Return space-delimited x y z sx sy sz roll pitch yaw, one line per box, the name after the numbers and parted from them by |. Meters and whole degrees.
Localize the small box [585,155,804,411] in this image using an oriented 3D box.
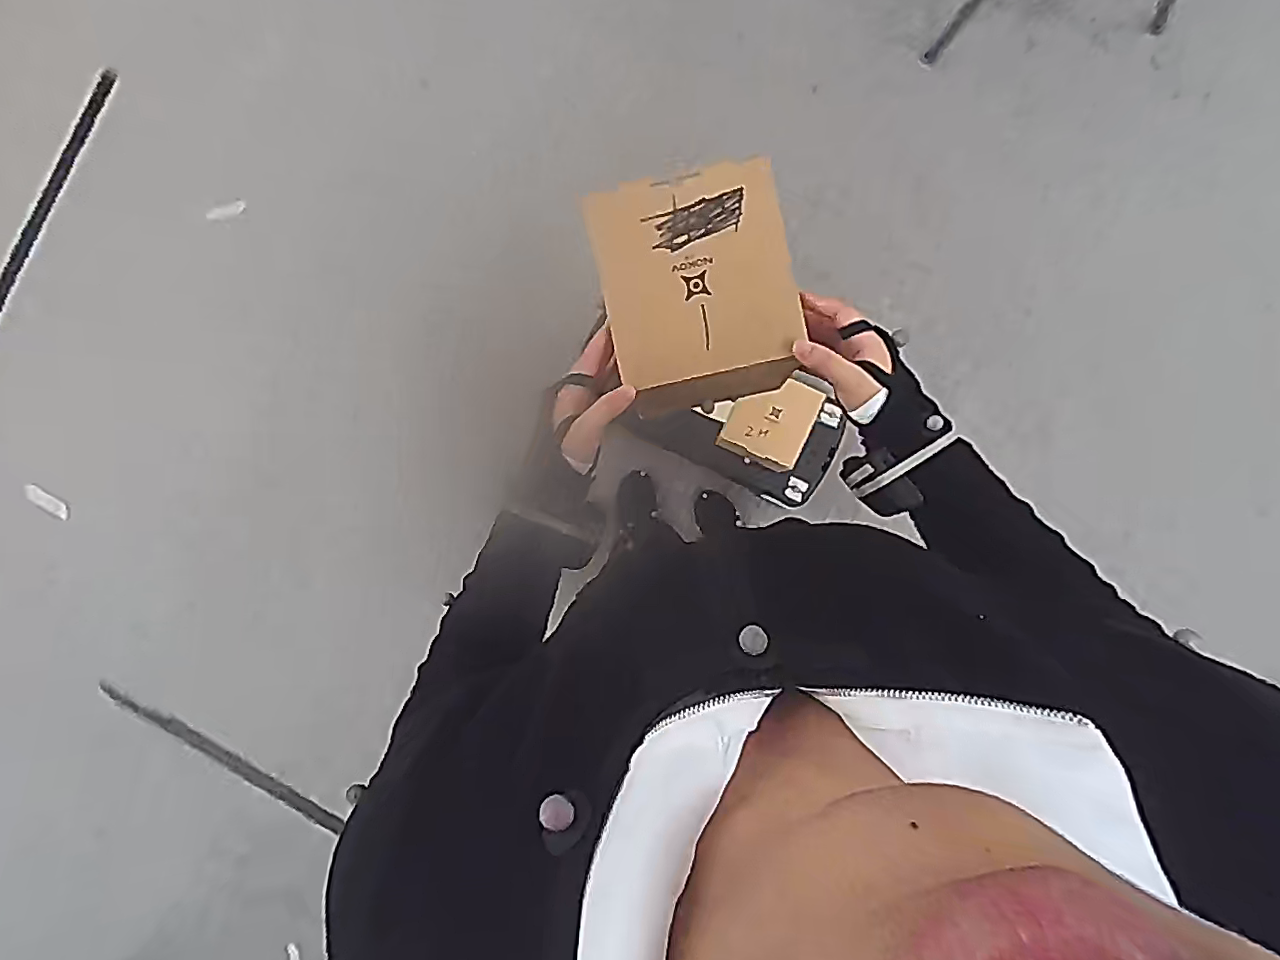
0.052 -0.182 0.552 0.168 0.176 0.179 -13 88 5 | small box

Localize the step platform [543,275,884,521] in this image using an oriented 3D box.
0.148 -0.172 1.190 0.684 0.204 0.286 26 91 3 | step platform

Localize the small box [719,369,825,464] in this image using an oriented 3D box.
0.284 -0.147 1.216 0.168 0.176 0.179 25 92 4 | small box
